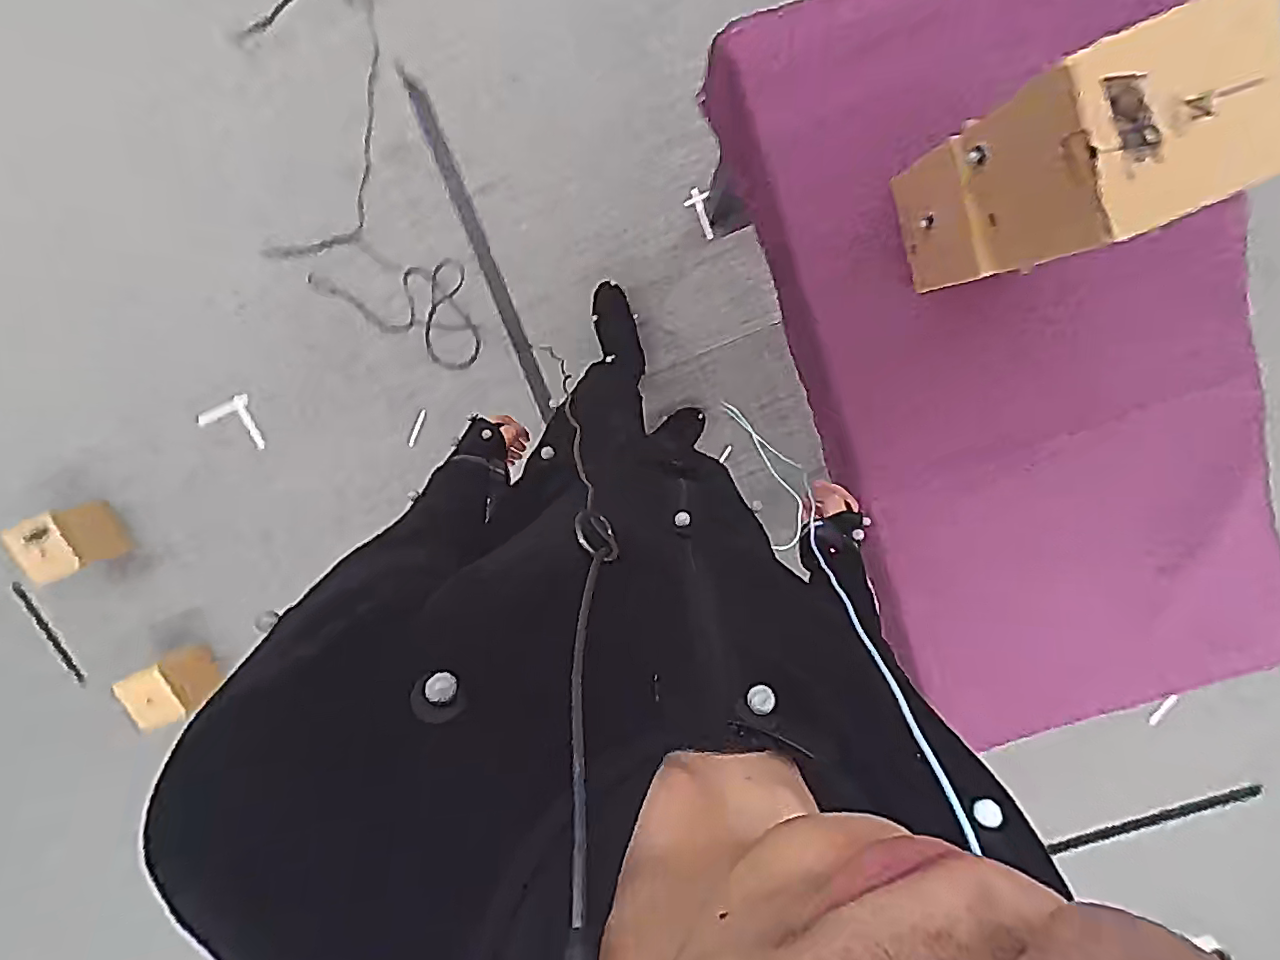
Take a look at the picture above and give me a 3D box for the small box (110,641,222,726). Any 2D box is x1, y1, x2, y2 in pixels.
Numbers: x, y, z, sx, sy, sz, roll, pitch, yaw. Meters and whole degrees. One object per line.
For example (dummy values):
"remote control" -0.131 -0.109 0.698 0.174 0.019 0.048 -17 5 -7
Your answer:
"small box" -1.501 0.638 1.724 0.168 0.176 0.179 -22 103 5

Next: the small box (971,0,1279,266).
"small box" 0.473 -0.339 0.551 0.179 0.176 0.168 -22 102 5

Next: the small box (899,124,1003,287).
"small box" 0.466 -0.367 0.713 0.179 0.176 0.168 -18 102 5
